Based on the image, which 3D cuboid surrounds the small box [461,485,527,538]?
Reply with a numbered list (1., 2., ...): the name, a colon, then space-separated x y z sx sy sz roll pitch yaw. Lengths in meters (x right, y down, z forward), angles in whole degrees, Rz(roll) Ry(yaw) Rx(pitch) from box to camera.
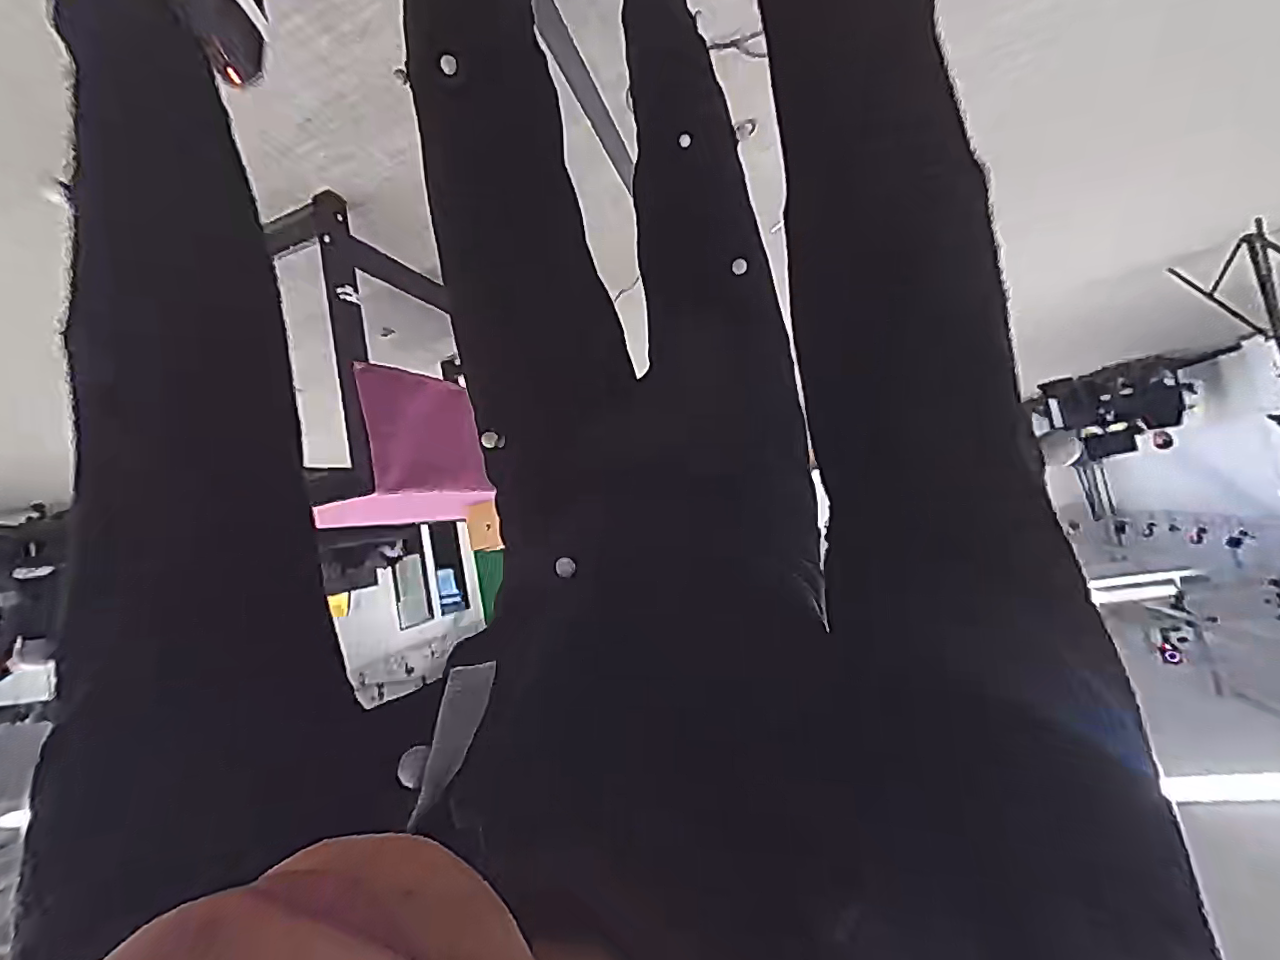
1. small box: -0.556 0.116 2.044 0.179 0.176 0.168 -13 177 20
